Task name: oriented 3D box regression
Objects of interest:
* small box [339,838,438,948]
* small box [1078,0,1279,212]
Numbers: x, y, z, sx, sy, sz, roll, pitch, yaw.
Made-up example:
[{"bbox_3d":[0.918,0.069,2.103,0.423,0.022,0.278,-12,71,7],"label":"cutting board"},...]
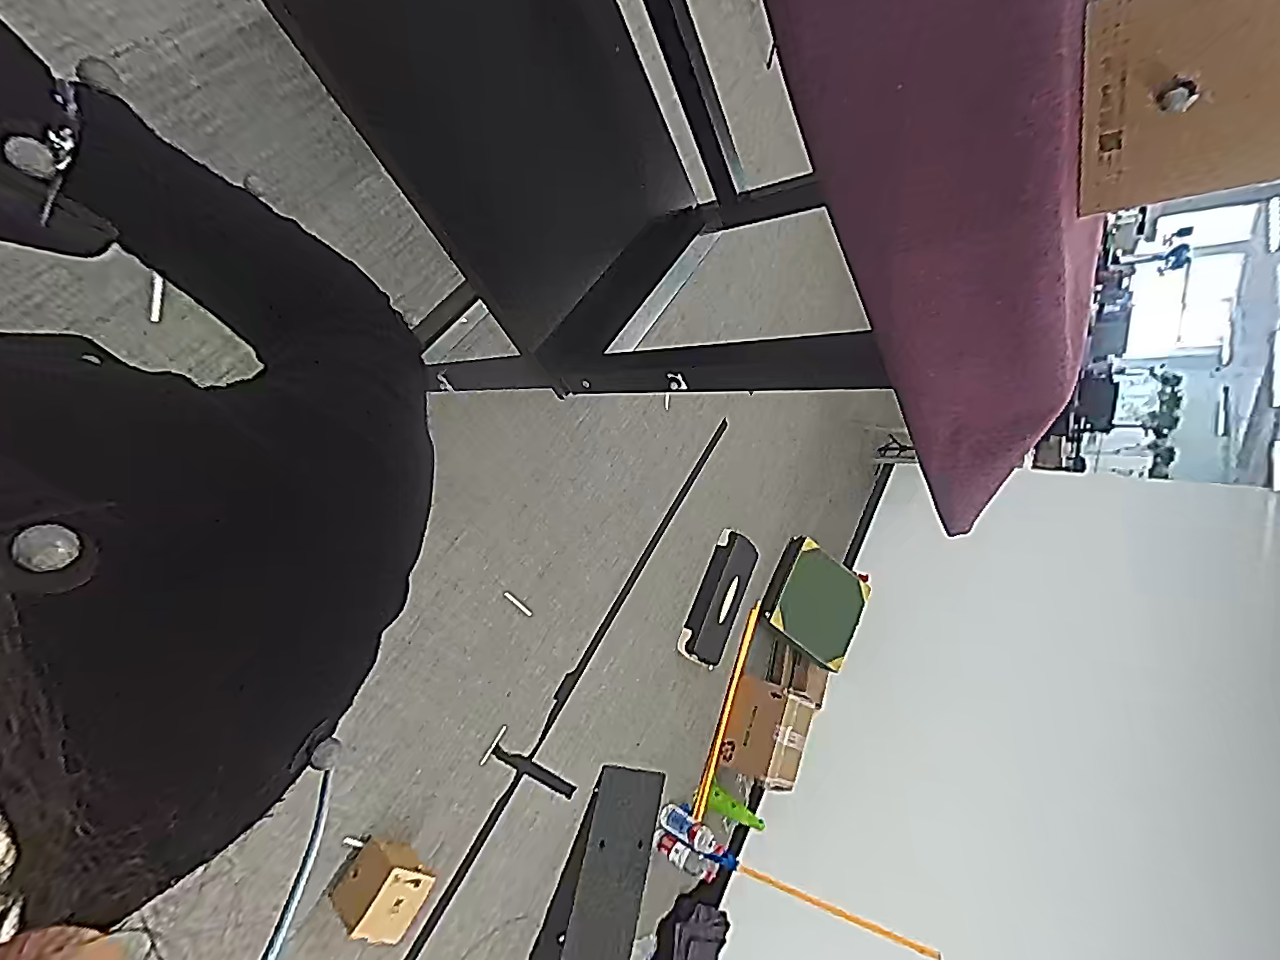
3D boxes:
[{"bbox_3d":[-0.722,1.169,1.537,0.179,0.176,0.168,-57,132,-24],"label":"small box"},{"bbox_3d":[0.469,-0.346,0.430,0.179,0.176,0.168,-54,130,-29],"label":"small box"}]
